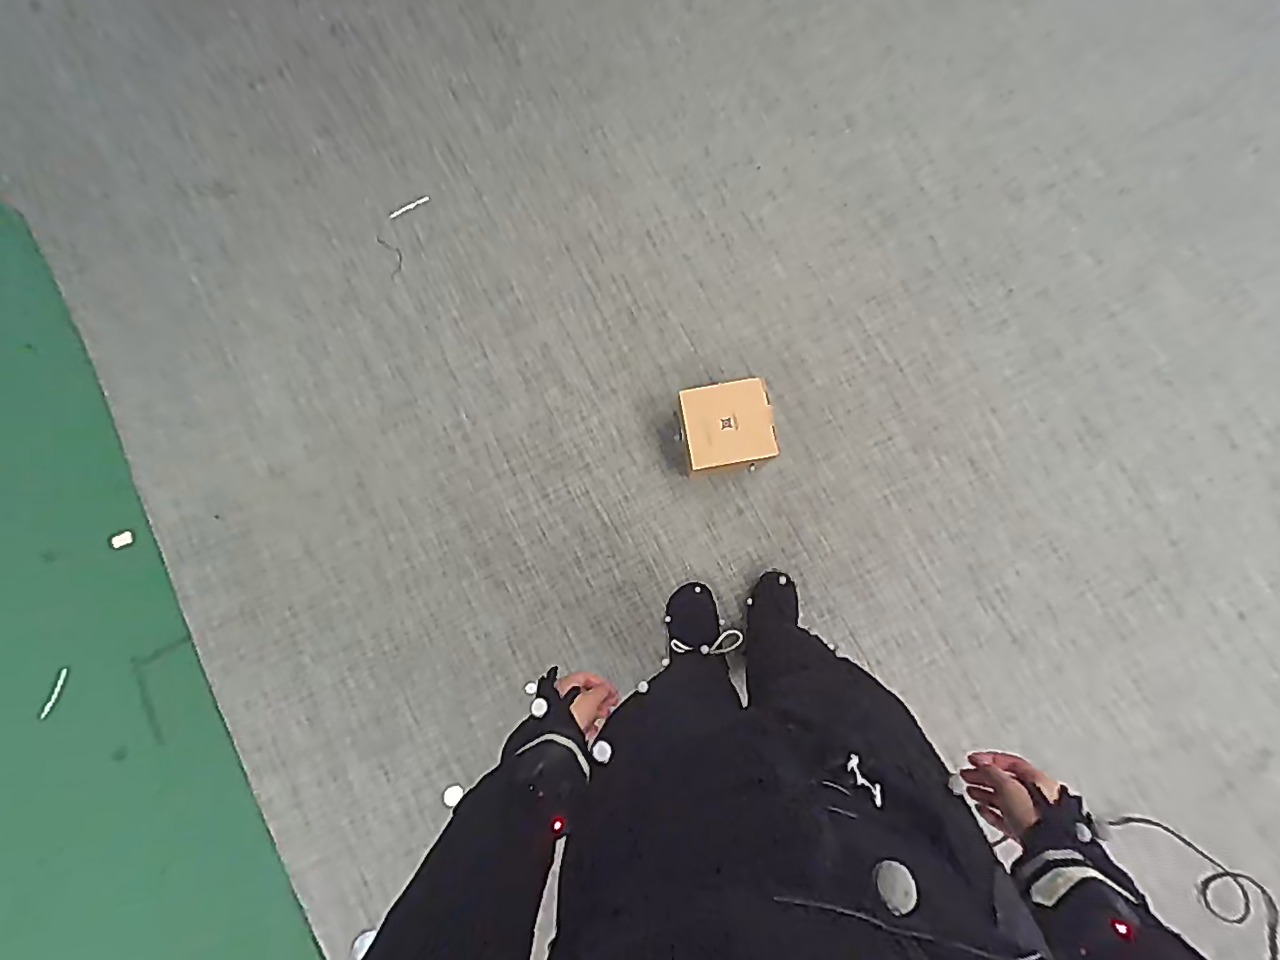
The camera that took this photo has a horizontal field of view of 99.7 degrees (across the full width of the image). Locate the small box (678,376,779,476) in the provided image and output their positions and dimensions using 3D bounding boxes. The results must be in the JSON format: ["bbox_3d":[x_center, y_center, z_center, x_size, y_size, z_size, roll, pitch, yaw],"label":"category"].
[{"bbox_3d":[0.181,-0.109,1.158,0.179,0.176,0.168,-10,83,2],"label":"small box"}]
